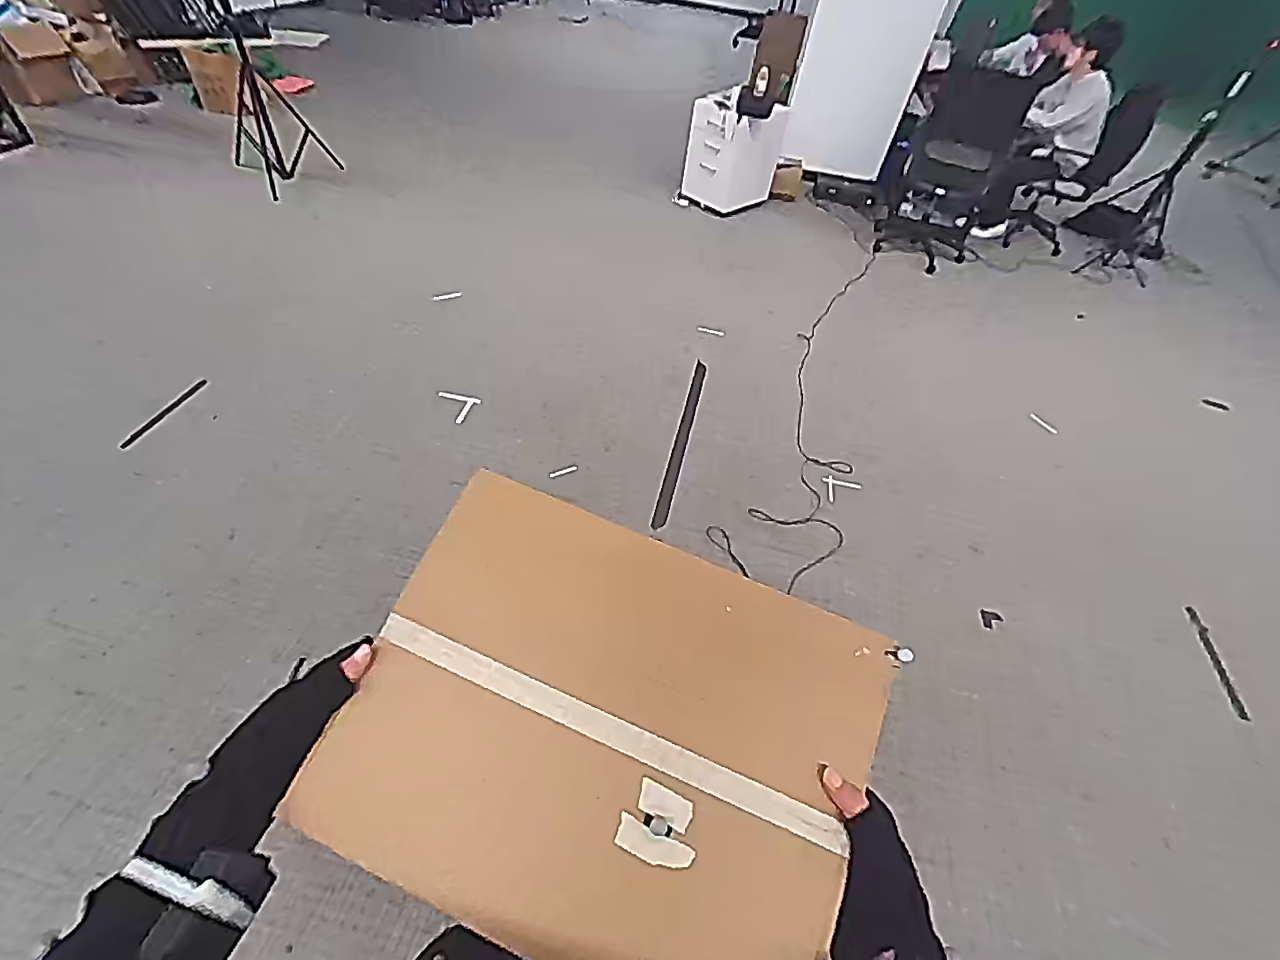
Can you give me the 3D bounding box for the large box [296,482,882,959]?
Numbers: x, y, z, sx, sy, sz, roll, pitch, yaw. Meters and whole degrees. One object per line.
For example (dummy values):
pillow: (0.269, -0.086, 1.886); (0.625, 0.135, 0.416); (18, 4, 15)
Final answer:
large box: (-0.032, 0.252, 0.581); (0.408, 0.320, 0.320); (22, 71, 7)
